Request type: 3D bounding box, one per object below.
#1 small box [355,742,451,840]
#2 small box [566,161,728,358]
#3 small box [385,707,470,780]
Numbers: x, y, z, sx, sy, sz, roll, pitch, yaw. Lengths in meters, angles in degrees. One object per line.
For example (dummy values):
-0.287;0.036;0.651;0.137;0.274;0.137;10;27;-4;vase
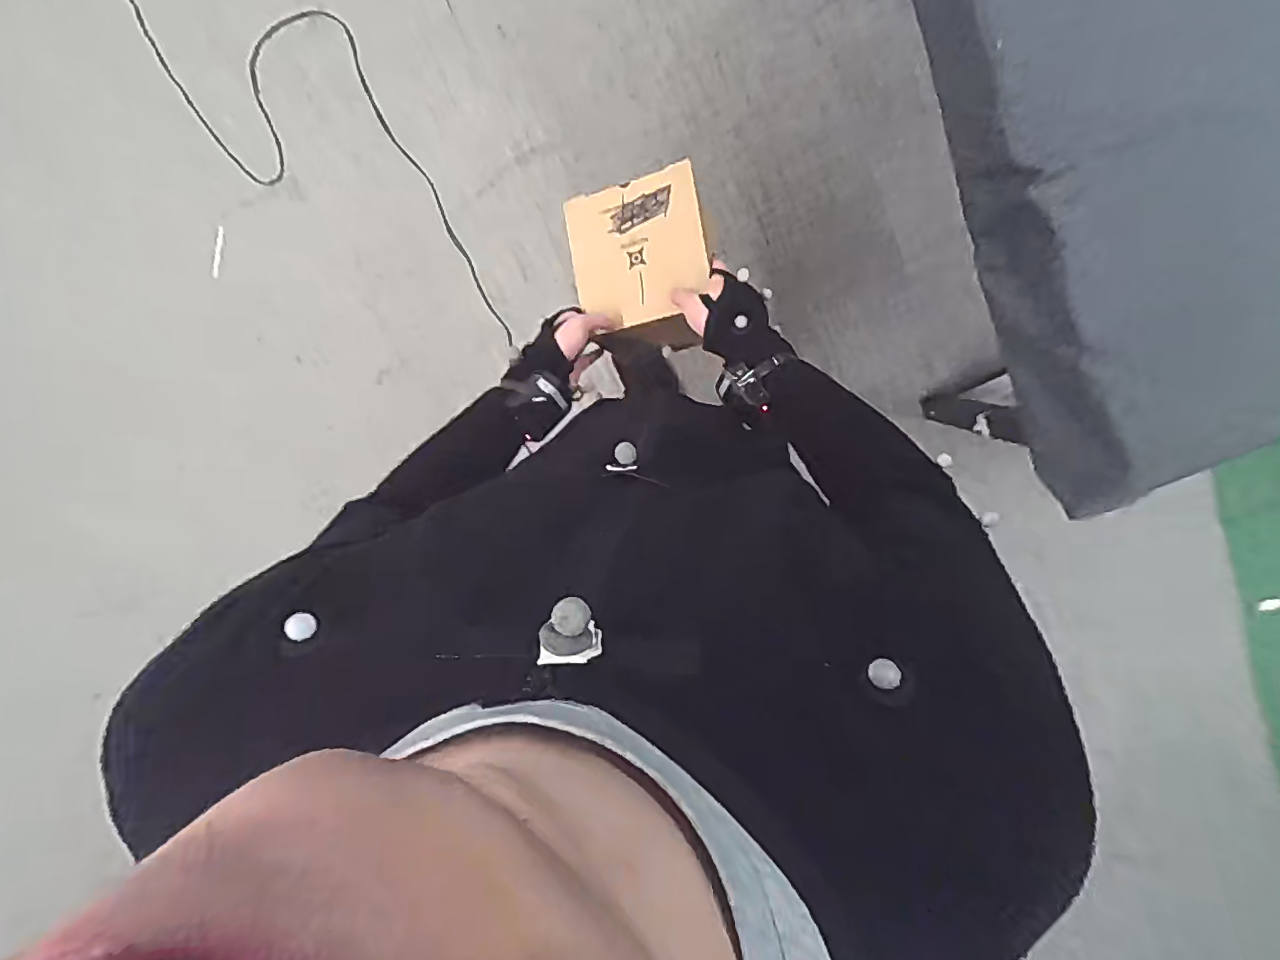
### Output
-0.690;0.915;1.604;0.179;0.176;0.168;-24;99;11;small box
0.018;-0.280;0.729;0.168;0.176;0.179;-10;90;16;small box
-0.680;0.877;1.762;0.179;0.176;0.168;-26;100;10;small box
